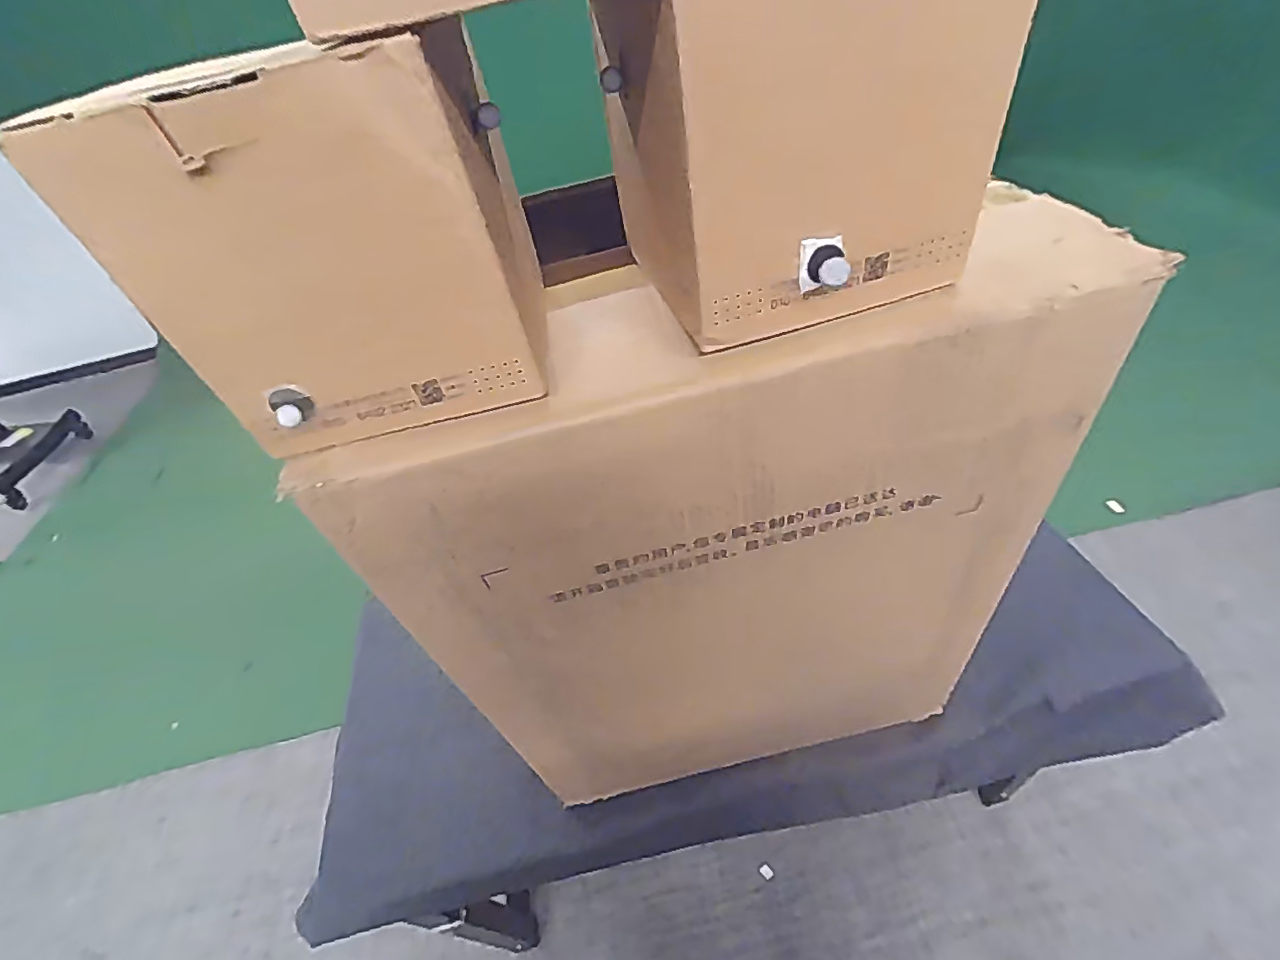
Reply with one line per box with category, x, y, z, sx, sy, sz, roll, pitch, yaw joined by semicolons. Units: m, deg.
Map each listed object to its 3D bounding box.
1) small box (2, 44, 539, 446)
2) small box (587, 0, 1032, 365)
small box;-0.162;-0.137;0.319;0.168;0.176;0.179;-13;43;1
small box;0.076;-0.196;0.322;0.168;0.176;0.179;-19;45;-4
